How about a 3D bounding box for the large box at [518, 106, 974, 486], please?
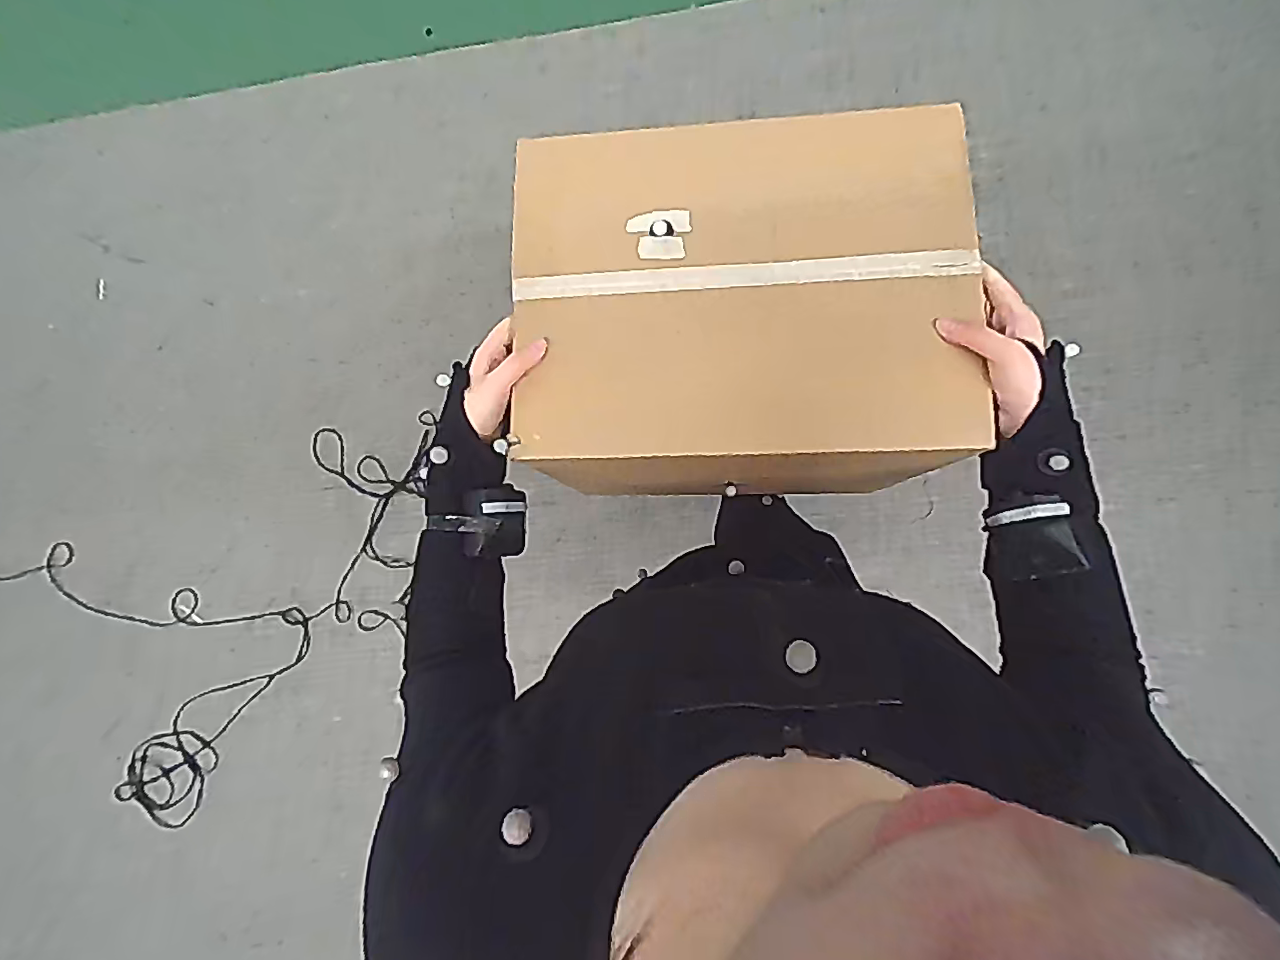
[{"bbox_3d":[0.102,-0.162,0.639,0.408,0.320,0.320,-1,82,8],"label":"large box"}]
